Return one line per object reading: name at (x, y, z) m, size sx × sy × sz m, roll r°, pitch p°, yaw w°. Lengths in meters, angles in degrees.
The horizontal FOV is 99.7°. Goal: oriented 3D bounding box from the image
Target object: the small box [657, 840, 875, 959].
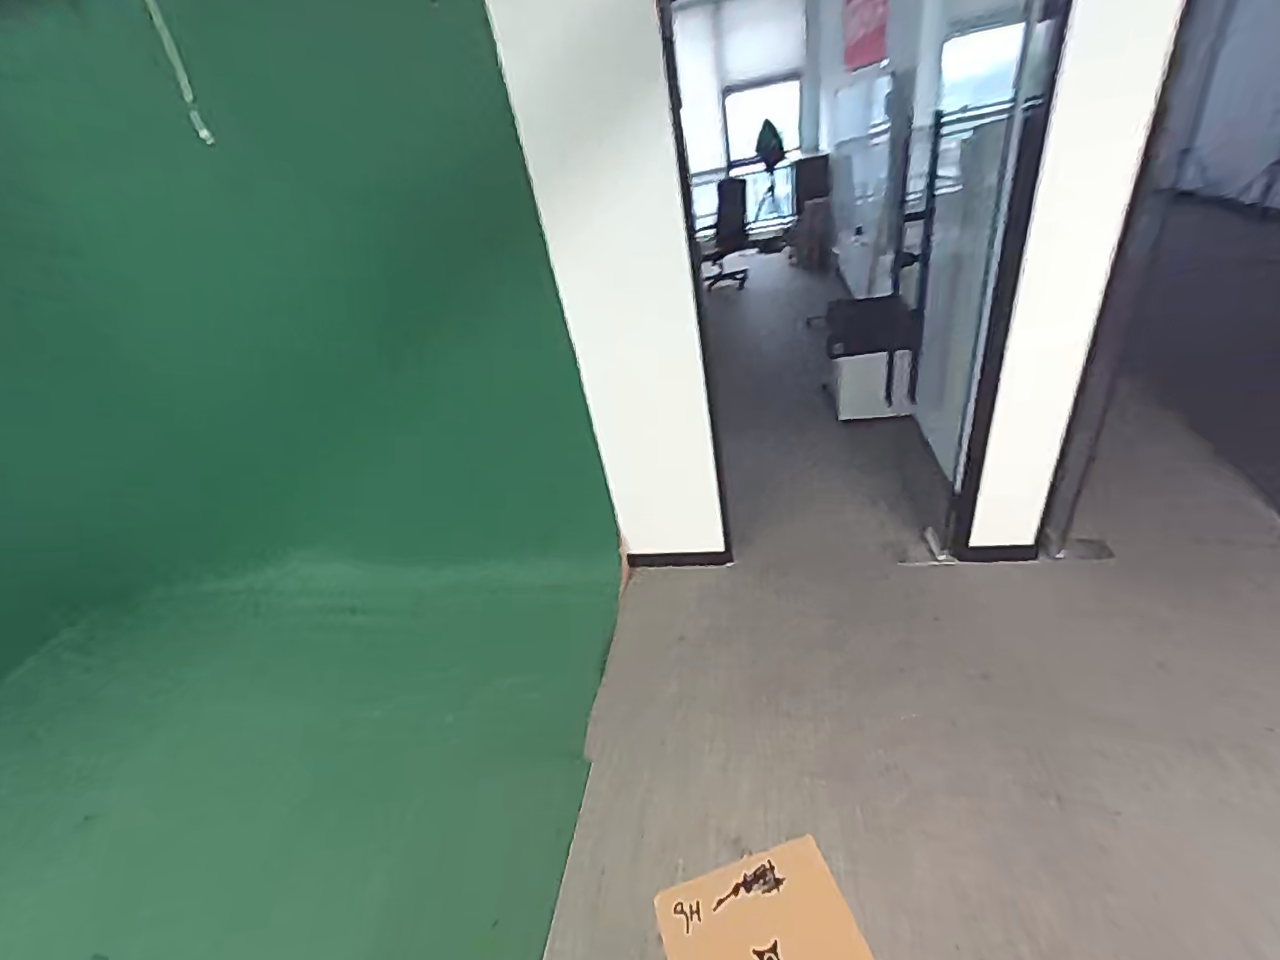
small box at (0.126, 0.475, 0.482) m, size 0.168 × 0.176 × 0.179 m, roll -15°, pitch 32°, yaw -8°
